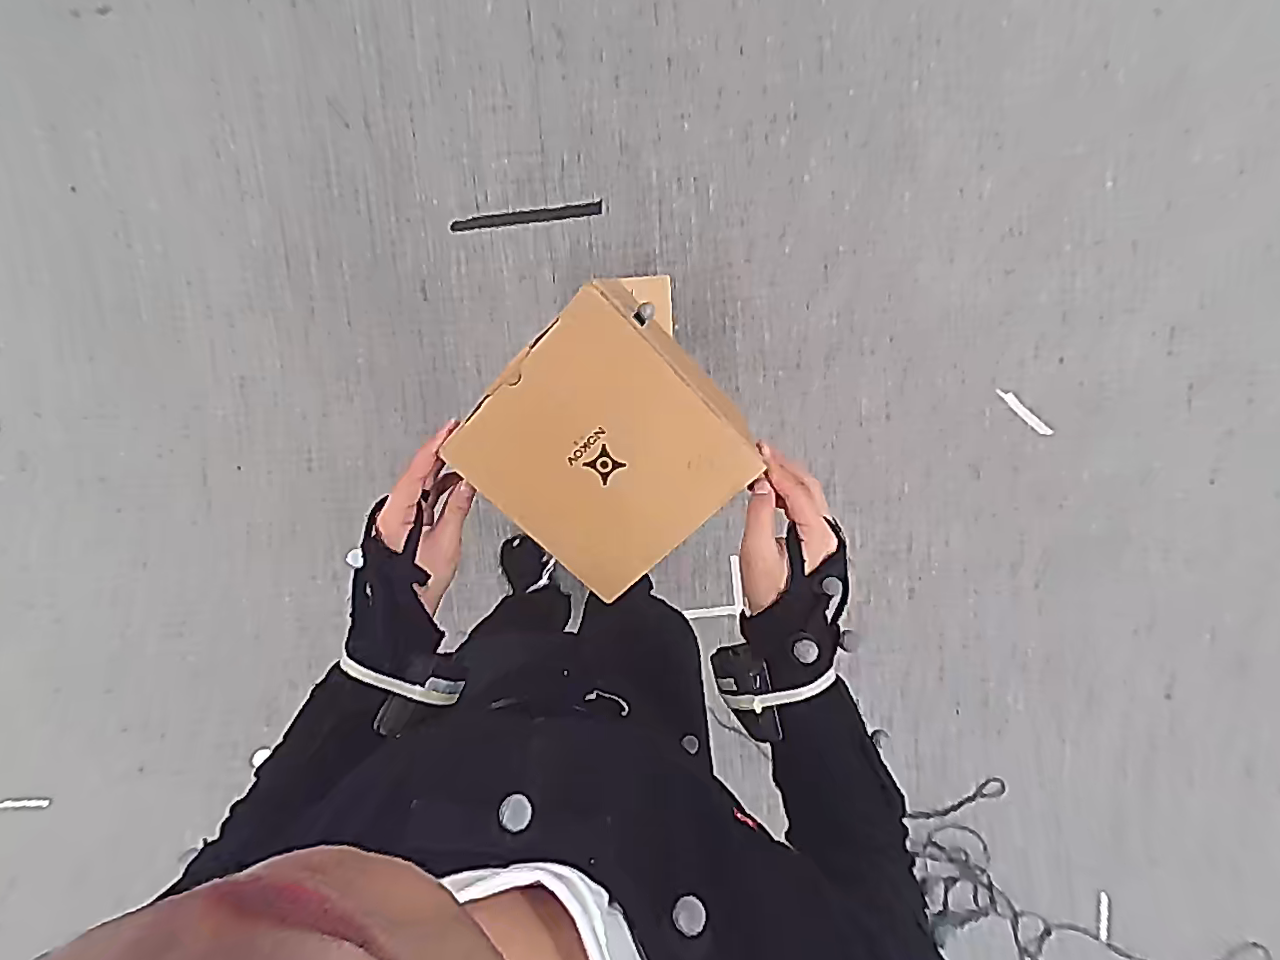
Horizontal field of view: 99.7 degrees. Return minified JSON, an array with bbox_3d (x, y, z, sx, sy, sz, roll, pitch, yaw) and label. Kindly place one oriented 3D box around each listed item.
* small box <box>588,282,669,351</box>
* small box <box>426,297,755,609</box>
[{"bbox_3d":[-0.019,-0.326,1.204,0.168,0.176,0.179,-3,95,2],"label":"small box"},{"bbox_3d":[-0.031,-0.036,0.452,0.179,0.176,0.168,43,107,-12],"label":"small box"}]
